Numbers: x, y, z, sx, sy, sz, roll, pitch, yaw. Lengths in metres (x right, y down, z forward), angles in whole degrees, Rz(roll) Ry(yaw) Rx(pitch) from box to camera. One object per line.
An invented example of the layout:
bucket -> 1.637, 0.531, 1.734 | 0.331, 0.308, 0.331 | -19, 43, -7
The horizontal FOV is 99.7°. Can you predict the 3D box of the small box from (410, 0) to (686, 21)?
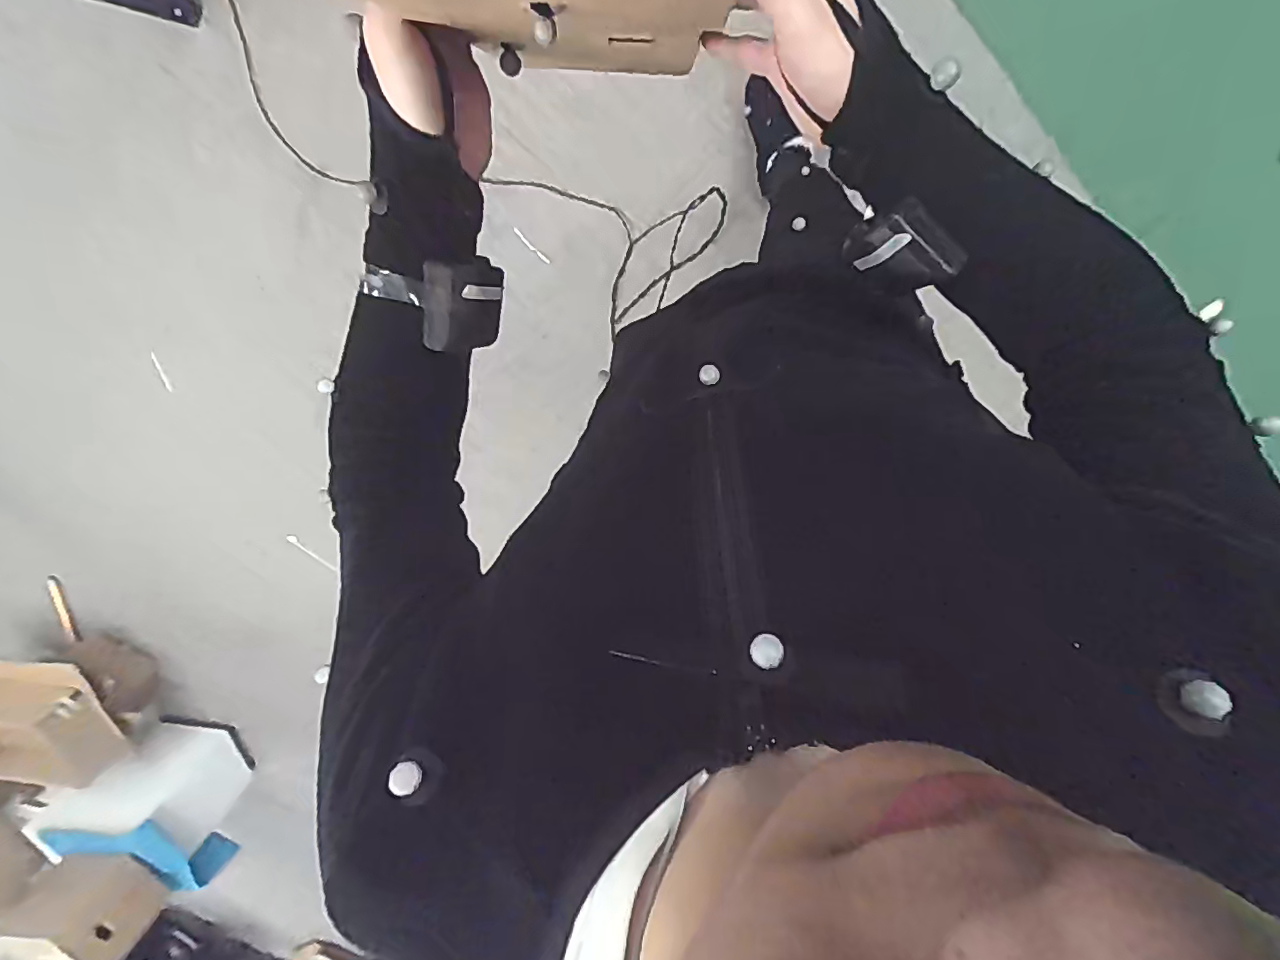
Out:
small box -> -0.049, -0.322, 0.233 | 0.179, 0.176, 0.168 | 1, 121, 6
